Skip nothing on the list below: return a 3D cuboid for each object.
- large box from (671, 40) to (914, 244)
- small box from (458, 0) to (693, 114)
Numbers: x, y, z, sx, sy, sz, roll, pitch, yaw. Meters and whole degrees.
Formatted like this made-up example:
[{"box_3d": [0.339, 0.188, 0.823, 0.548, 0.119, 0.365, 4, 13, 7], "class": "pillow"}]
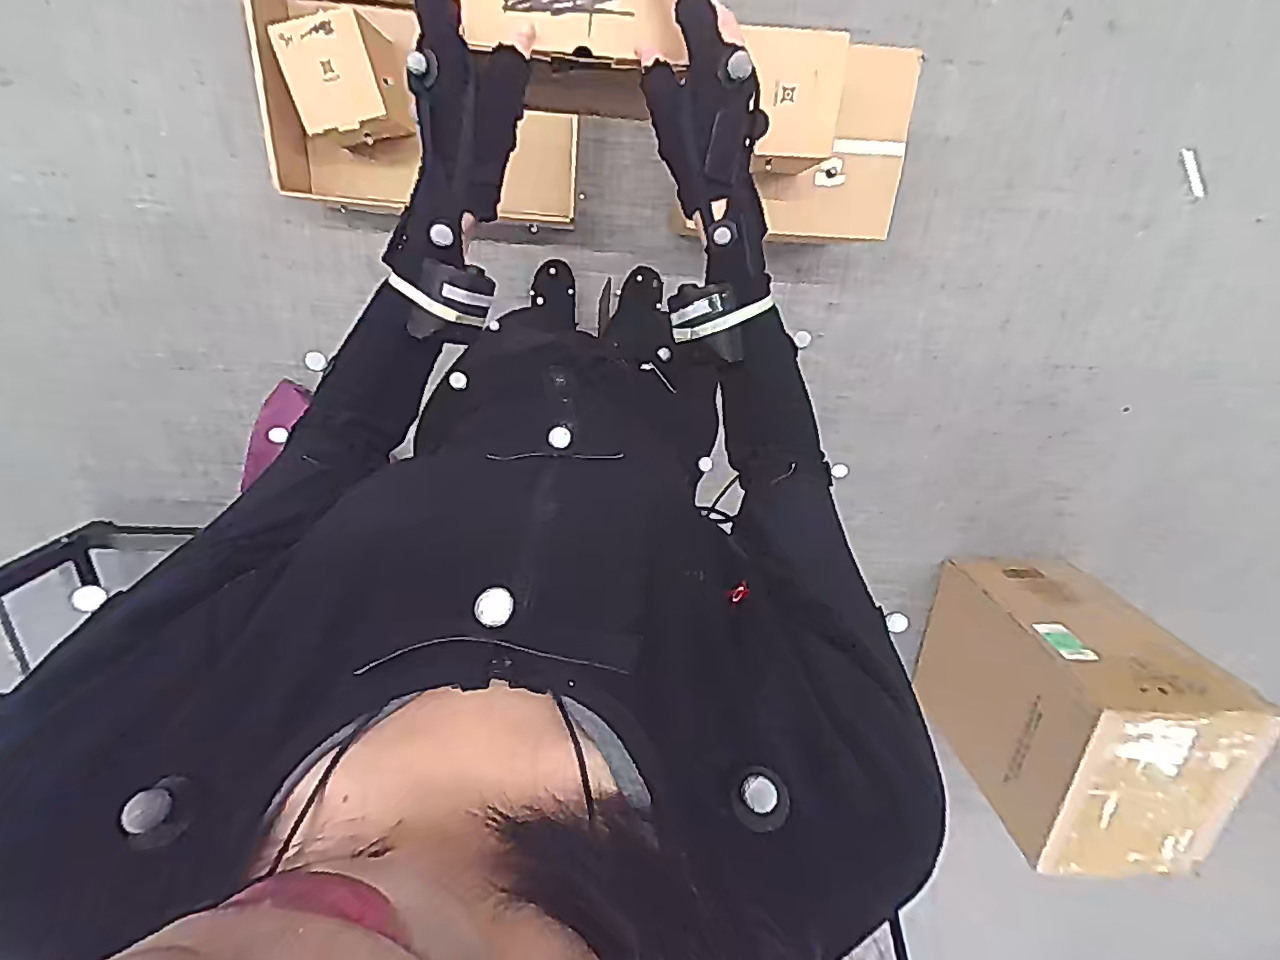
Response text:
[{"box_3d": [0.283, -0.679, 1.149, 0.408, 0.320, 0.320, 1, 112, -4], "class": "large box"}, {"box_3d": [-0.052, -0.414, 0.428, 0.168, 0.176, 0.179, -1, 112, -11], "class": "small box"}]
